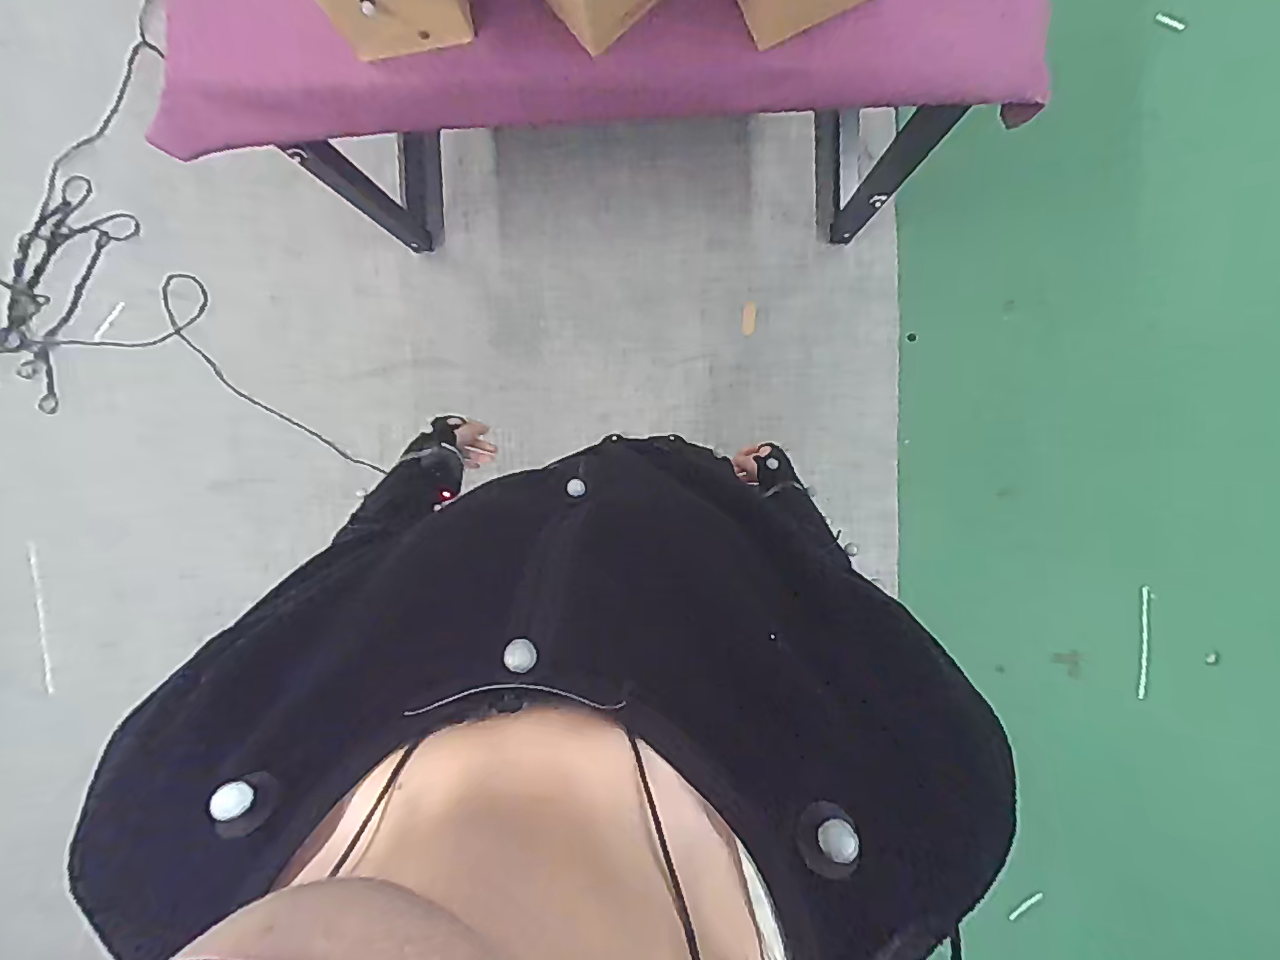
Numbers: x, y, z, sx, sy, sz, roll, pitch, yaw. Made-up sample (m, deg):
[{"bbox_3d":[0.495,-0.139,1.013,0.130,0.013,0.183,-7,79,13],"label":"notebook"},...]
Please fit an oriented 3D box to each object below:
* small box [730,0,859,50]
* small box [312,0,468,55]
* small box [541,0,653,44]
[{"bbox_3d":[0.198,-0.681,0.647,0.179,0.176,0.168,-24,90,4],"label":"small box"},{"bbox_3d":[-0.327,-0.671,0.667,0.168,0.176,0.179,-9,92,2],"label":"small box"},{"bbox_3d":[-0.063,-0.686,0.654,0.168,0.176,0.179,-39,90,3],"label":"small box"}]
